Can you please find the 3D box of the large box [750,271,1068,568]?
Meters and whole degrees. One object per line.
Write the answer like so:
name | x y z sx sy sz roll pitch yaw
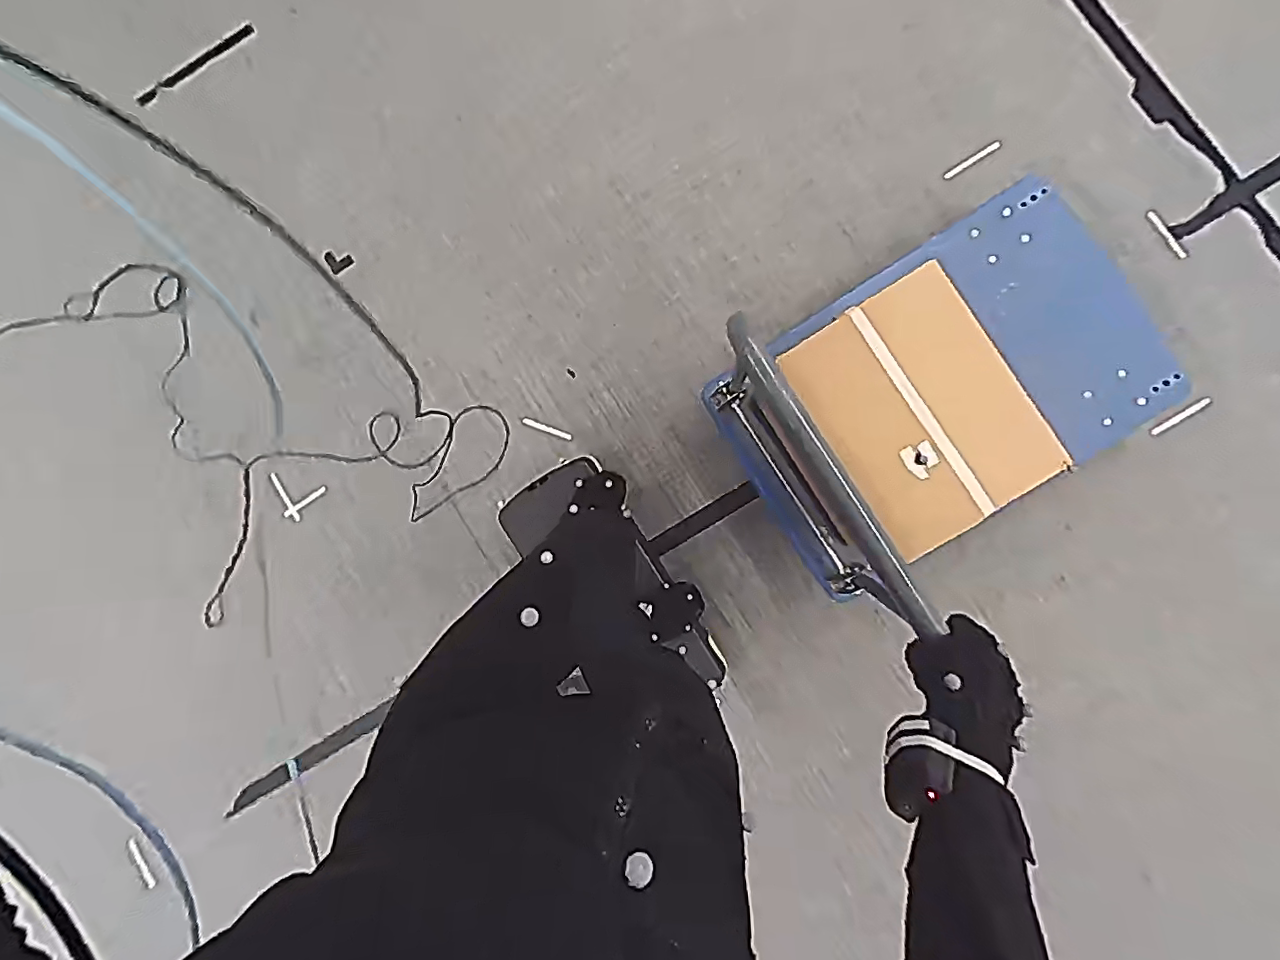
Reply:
large box | 0.463 -0.098 1.031 0.320 0.320 0.408 -32 87 4
